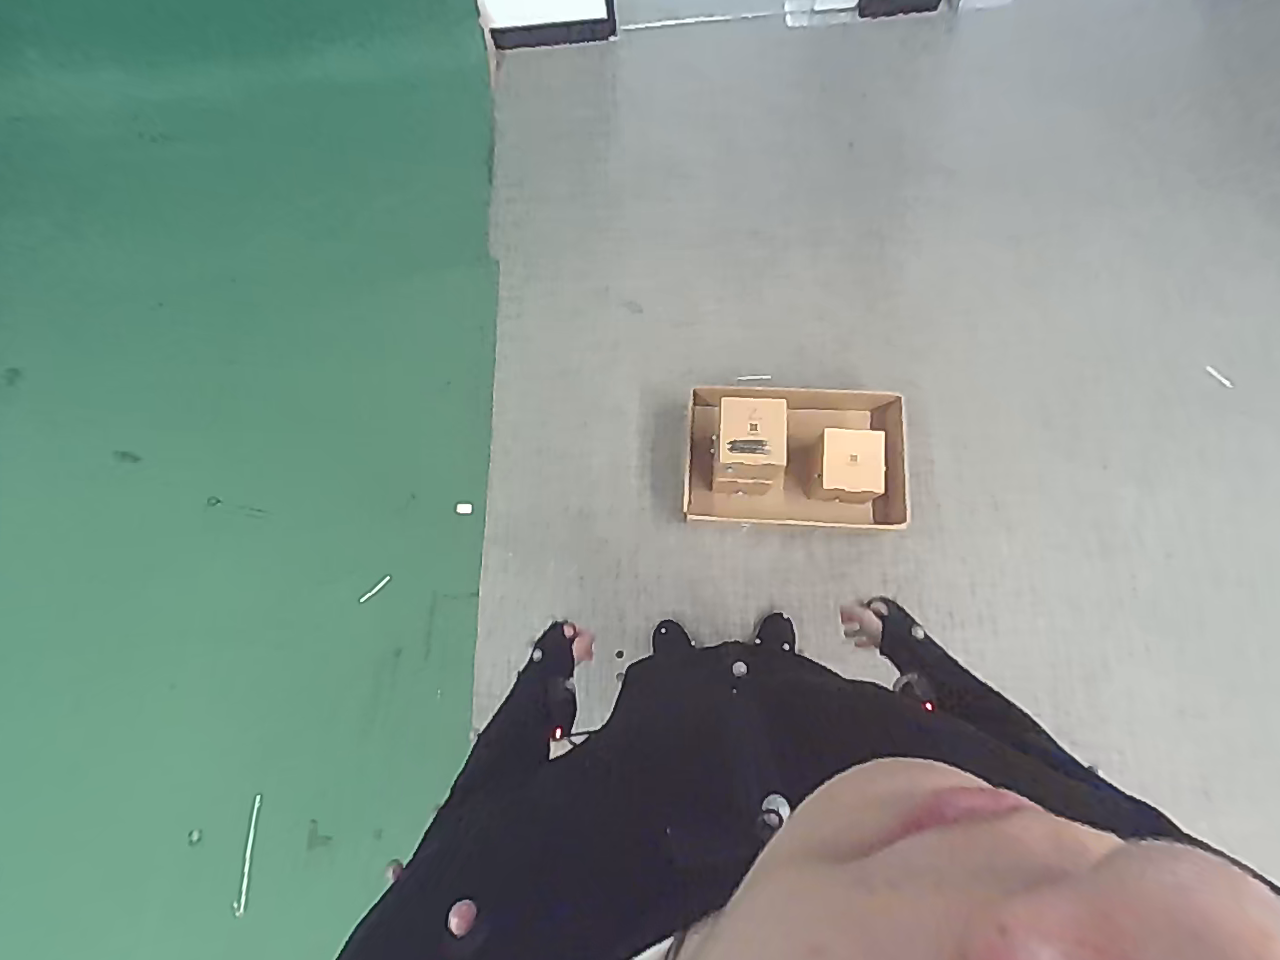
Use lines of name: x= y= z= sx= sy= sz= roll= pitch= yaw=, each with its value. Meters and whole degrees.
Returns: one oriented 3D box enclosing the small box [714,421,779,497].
small box: x=0.306 y=-0.058 z=1.574 sx=0.168 sy=0.176 sz=0.179 roll=4 pitch=77 yaw=5
